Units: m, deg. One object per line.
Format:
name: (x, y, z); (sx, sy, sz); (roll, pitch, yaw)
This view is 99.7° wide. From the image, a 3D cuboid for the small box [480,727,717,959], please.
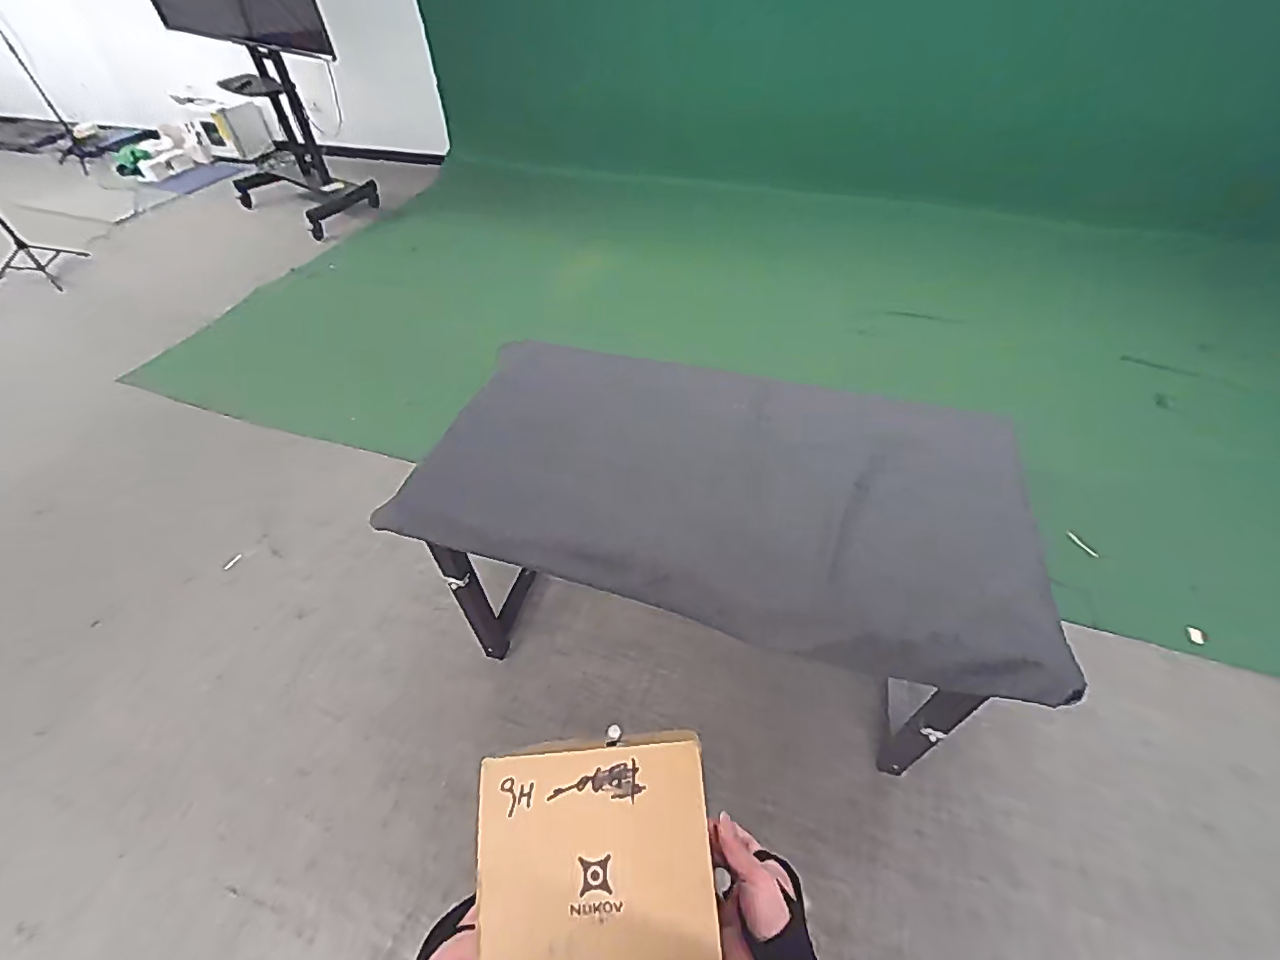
small box: (-0.025, 0.315, 0.455); (0.168, 0.176, 0.179); (-5, 69, 2)
